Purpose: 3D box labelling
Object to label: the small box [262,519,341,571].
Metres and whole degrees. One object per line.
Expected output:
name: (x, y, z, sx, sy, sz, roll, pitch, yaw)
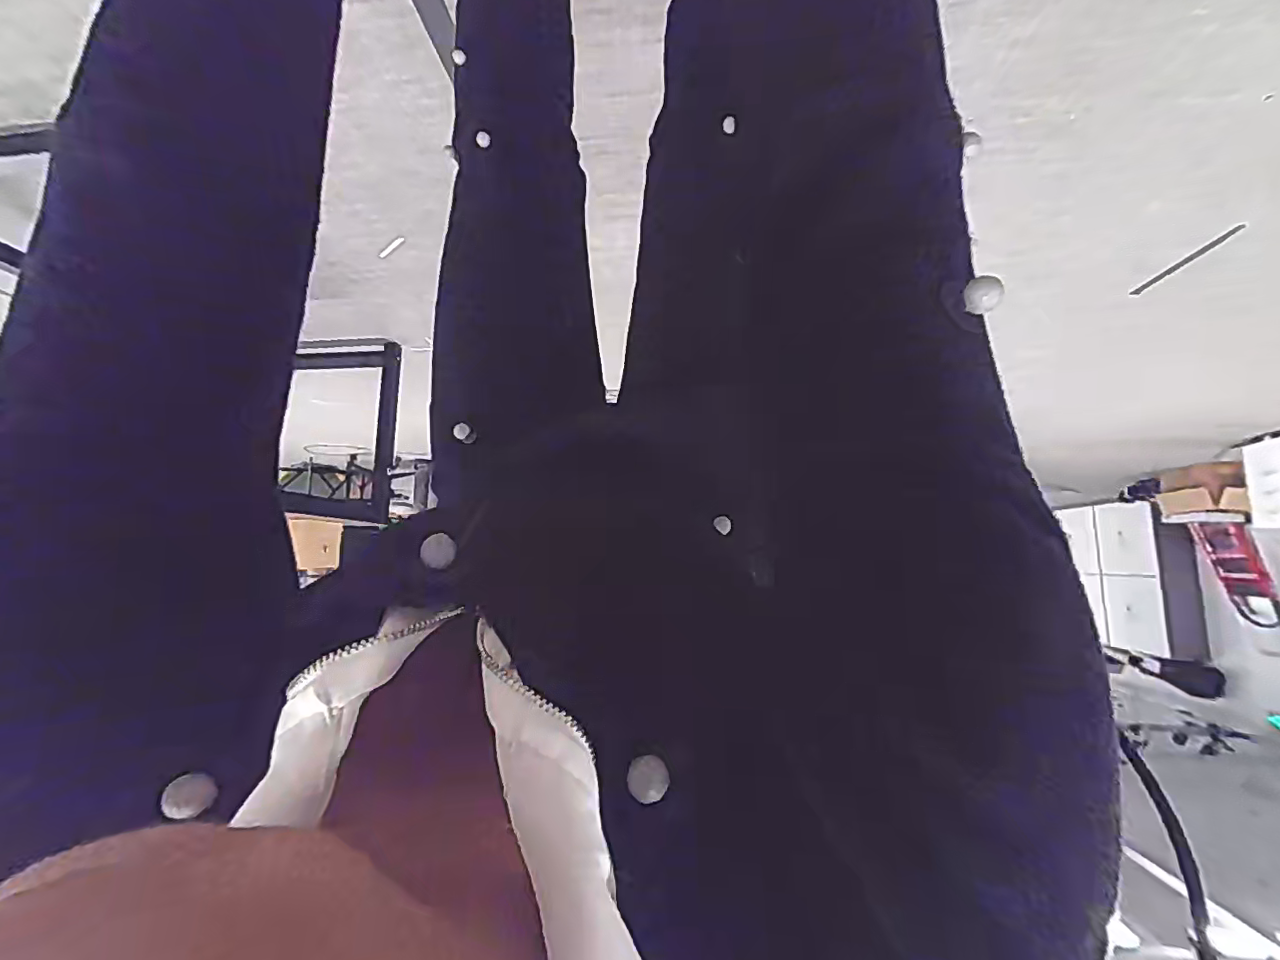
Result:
small box: (-1.181, 0.228, 1.899, 0.168, 0.176, 0.179, -1, 172, 8)
